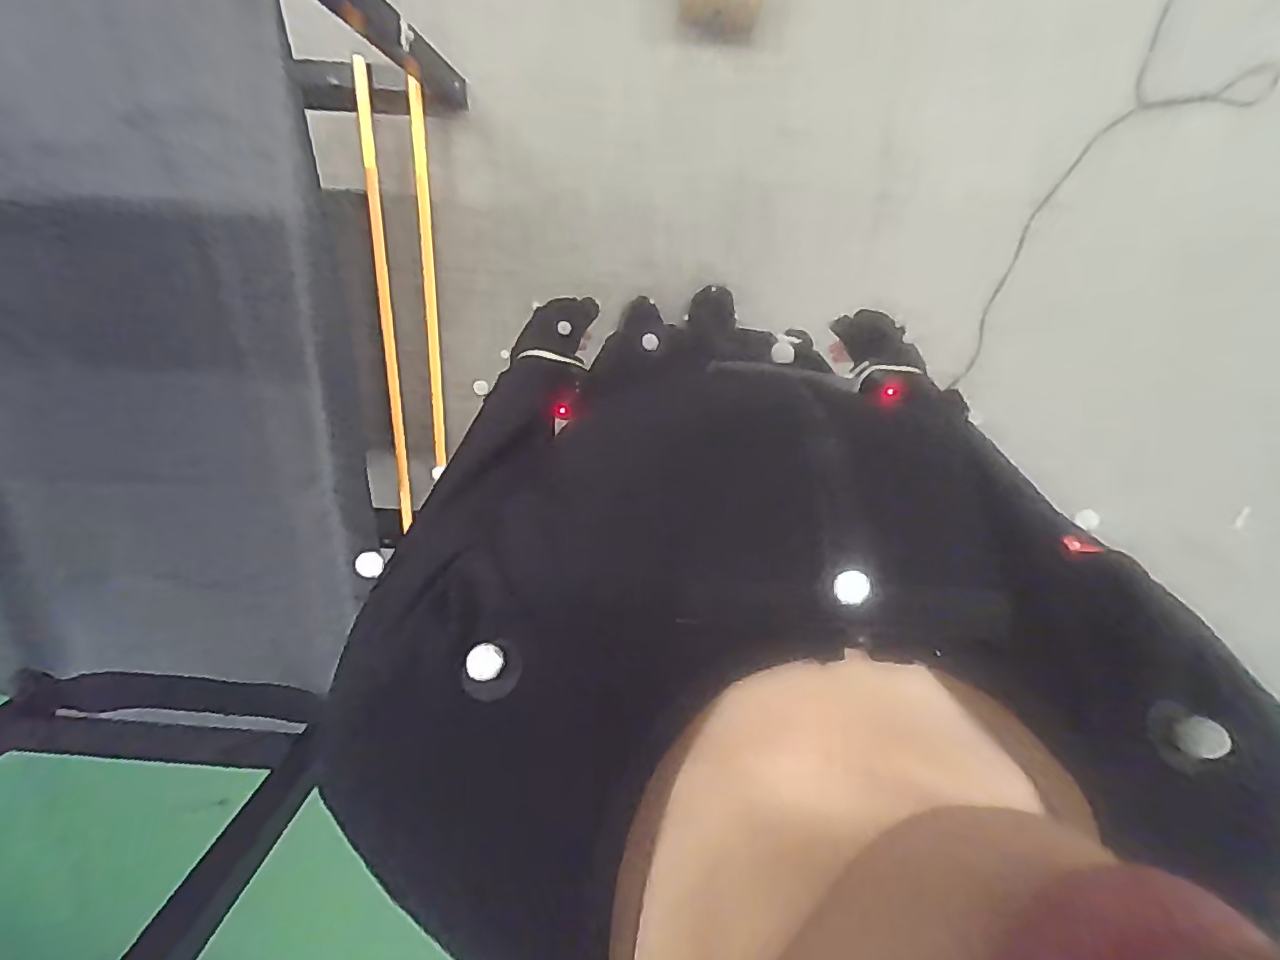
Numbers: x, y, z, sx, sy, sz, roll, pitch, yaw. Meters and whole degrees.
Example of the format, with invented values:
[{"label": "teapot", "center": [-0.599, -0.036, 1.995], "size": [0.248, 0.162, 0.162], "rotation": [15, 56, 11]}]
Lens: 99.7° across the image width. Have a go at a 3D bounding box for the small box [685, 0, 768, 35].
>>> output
[{"label": "small box", "center": [0.182, -1.028, 1.062], "size": [0.168, 0.176, 0.179], "rotation": [10, 111, 0]}]
